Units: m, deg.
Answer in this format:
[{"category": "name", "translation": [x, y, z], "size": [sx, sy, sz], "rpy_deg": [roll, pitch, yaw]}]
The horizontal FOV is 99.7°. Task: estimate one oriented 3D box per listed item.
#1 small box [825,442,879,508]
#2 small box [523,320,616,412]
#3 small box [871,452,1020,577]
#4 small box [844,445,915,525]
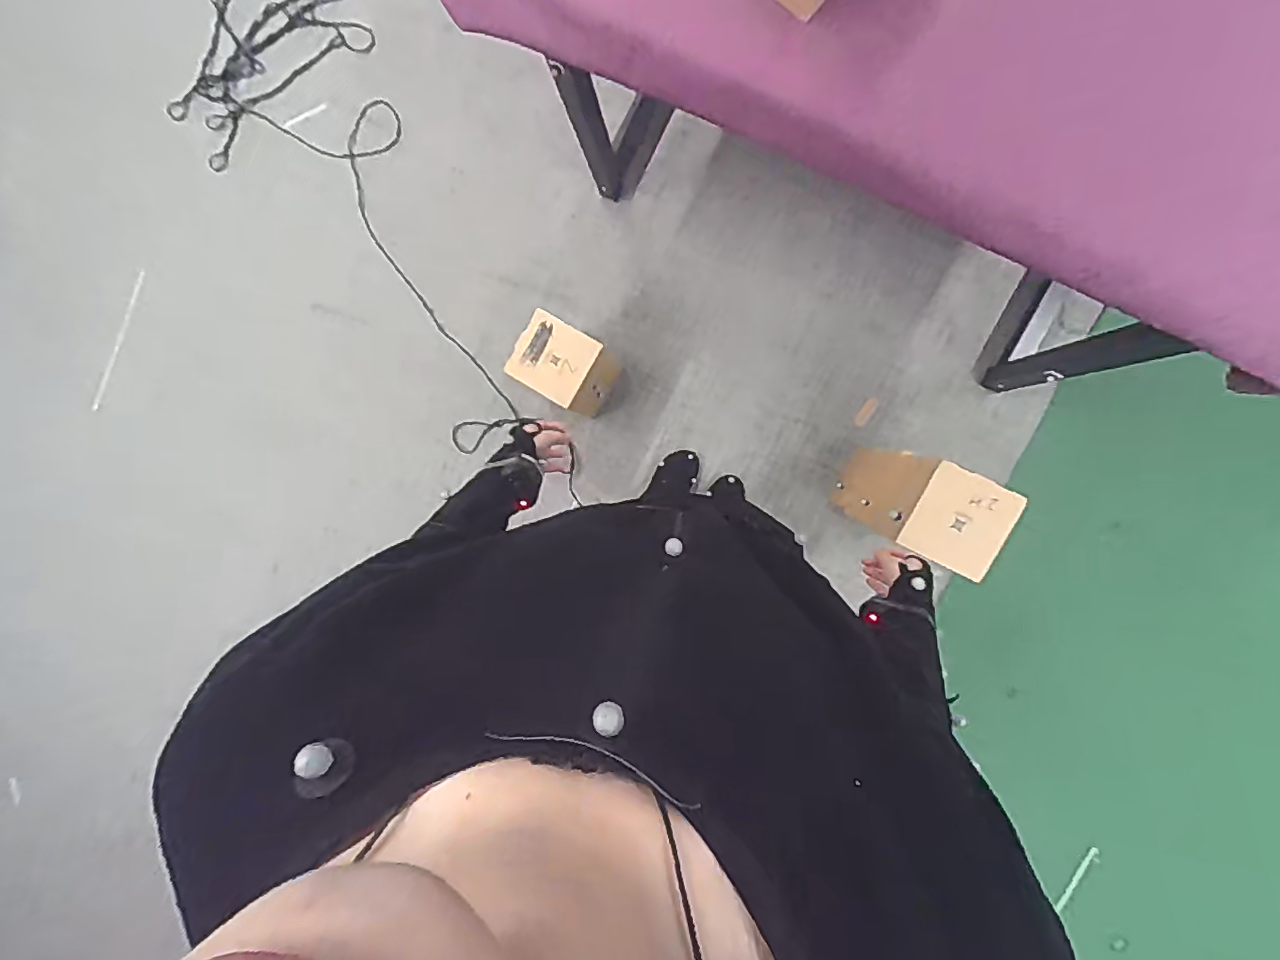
[{"category": "small box", "translation": [0.597, 0.017, 1.373], "size": [0.179, 0.176, 0.168], "rpy_deg": [29, 96, 3]}, {"category": "small box", "translation": [-0.177, -0.292, 1.437], "size": [0.168, 0.176, 0.179], "rpy_deg": [31, 97, 3]}, {"category": "small box", "translation": [0.574, 0.058, 1.050], "size": [0.168, 0.176, 0.179], "rpy_deg": [27, 97, 3]}, {"category": "small box", "translation": [0.584, 0.031, 1.213], "size": [0.168, 0.176, 0.179], "rpy_deg": [26, 97, 4]}]
